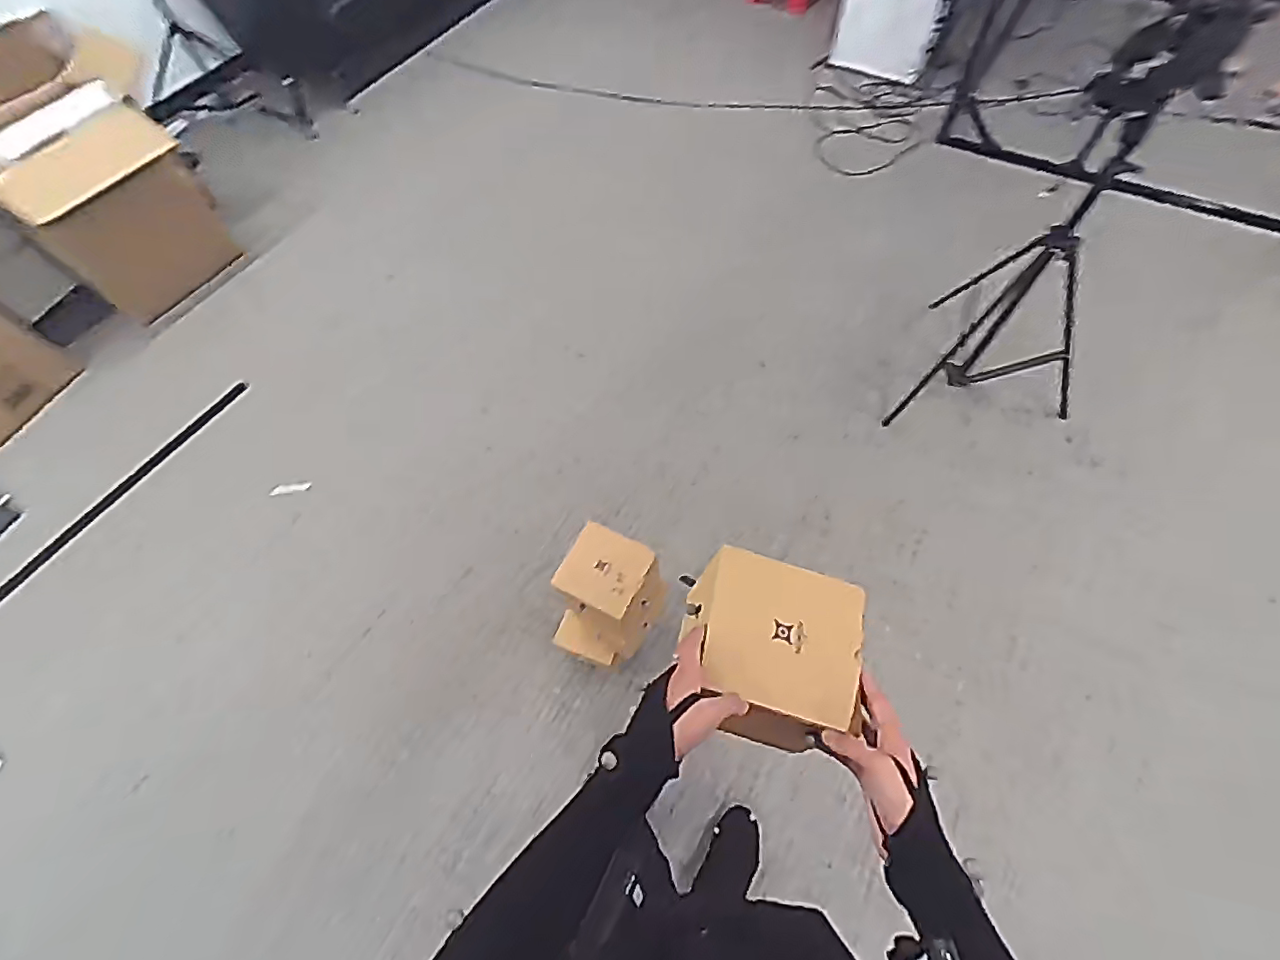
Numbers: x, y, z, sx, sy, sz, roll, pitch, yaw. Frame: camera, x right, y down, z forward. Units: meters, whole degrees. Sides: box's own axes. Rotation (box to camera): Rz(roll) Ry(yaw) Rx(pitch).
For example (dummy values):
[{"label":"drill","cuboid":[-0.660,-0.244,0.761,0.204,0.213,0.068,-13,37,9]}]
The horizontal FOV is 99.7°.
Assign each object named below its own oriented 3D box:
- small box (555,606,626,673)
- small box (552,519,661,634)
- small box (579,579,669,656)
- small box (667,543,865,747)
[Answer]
[{"label":"small box","cuboid":[-0.109,0.405,1.475,0.168,0.176,0.179,17,64,13]},{"label":"small box","cuboid":[-0.066,0.220,1.199,0.179,0.176,0.168,24,65,17]},{"label":"small box","cuboid":[-0.043,0.306,1.338,0.168,0.176,0.179,31,68,20]},{"label":"small box","cuboid":[0.141,0.202,0.637,0.179,0.176,0.168,17,57,-1]}]
